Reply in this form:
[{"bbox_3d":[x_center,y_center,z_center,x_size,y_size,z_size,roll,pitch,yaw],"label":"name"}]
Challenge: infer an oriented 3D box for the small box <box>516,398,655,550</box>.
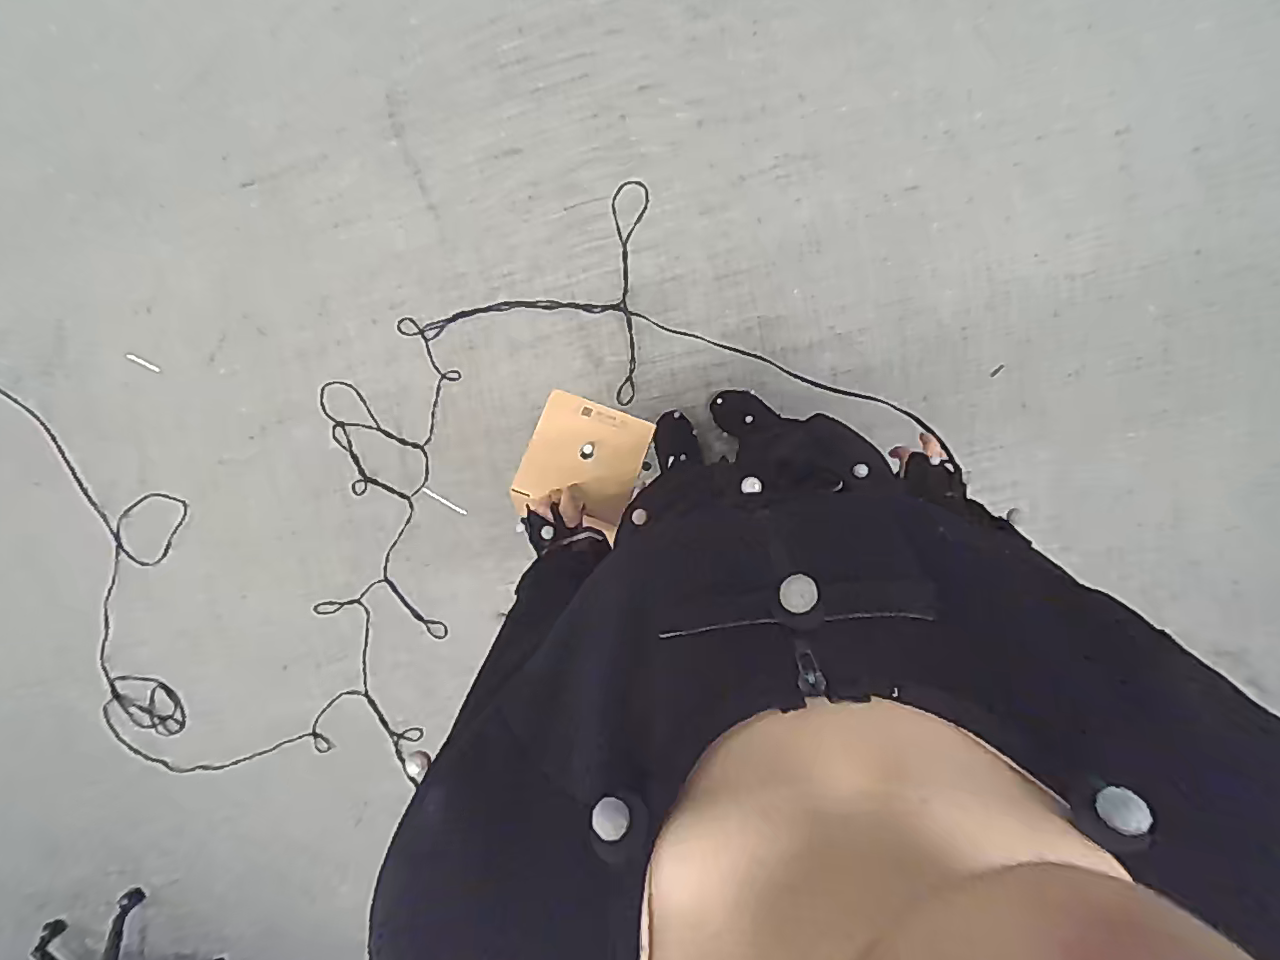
[{"bbox_3d":[-0.085,-0.007,0.859,0.168,0.179,0.176,21,71,-2],"label":"small box"}]
